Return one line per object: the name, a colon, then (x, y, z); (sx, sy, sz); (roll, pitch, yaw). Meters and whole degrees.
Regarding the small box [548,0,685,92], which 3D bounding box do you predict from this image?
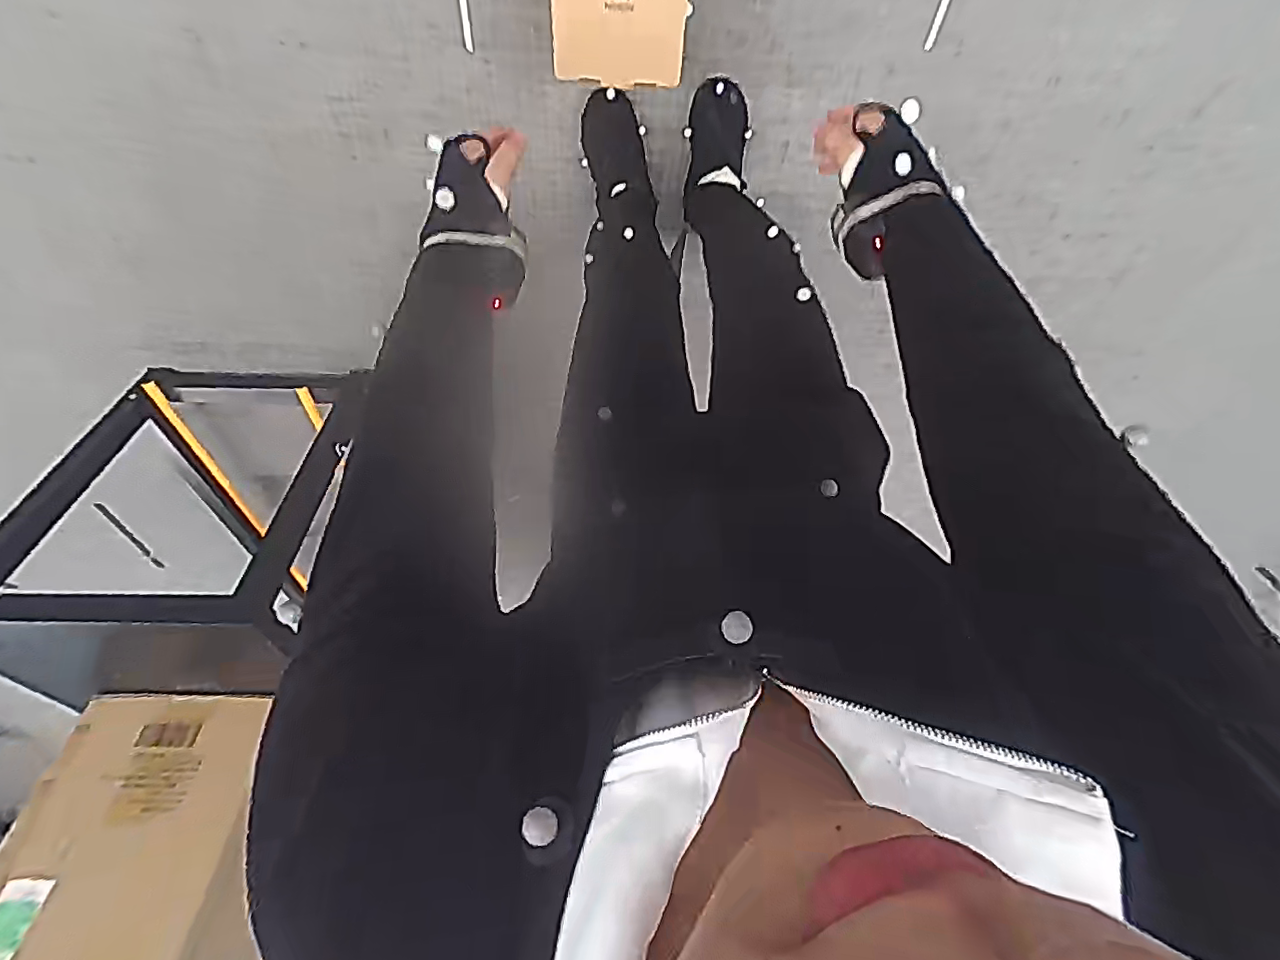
small box: (-0.027, -0.632, 0.693); (0.168, 0.176, 0.179); (2, 139, -3)
